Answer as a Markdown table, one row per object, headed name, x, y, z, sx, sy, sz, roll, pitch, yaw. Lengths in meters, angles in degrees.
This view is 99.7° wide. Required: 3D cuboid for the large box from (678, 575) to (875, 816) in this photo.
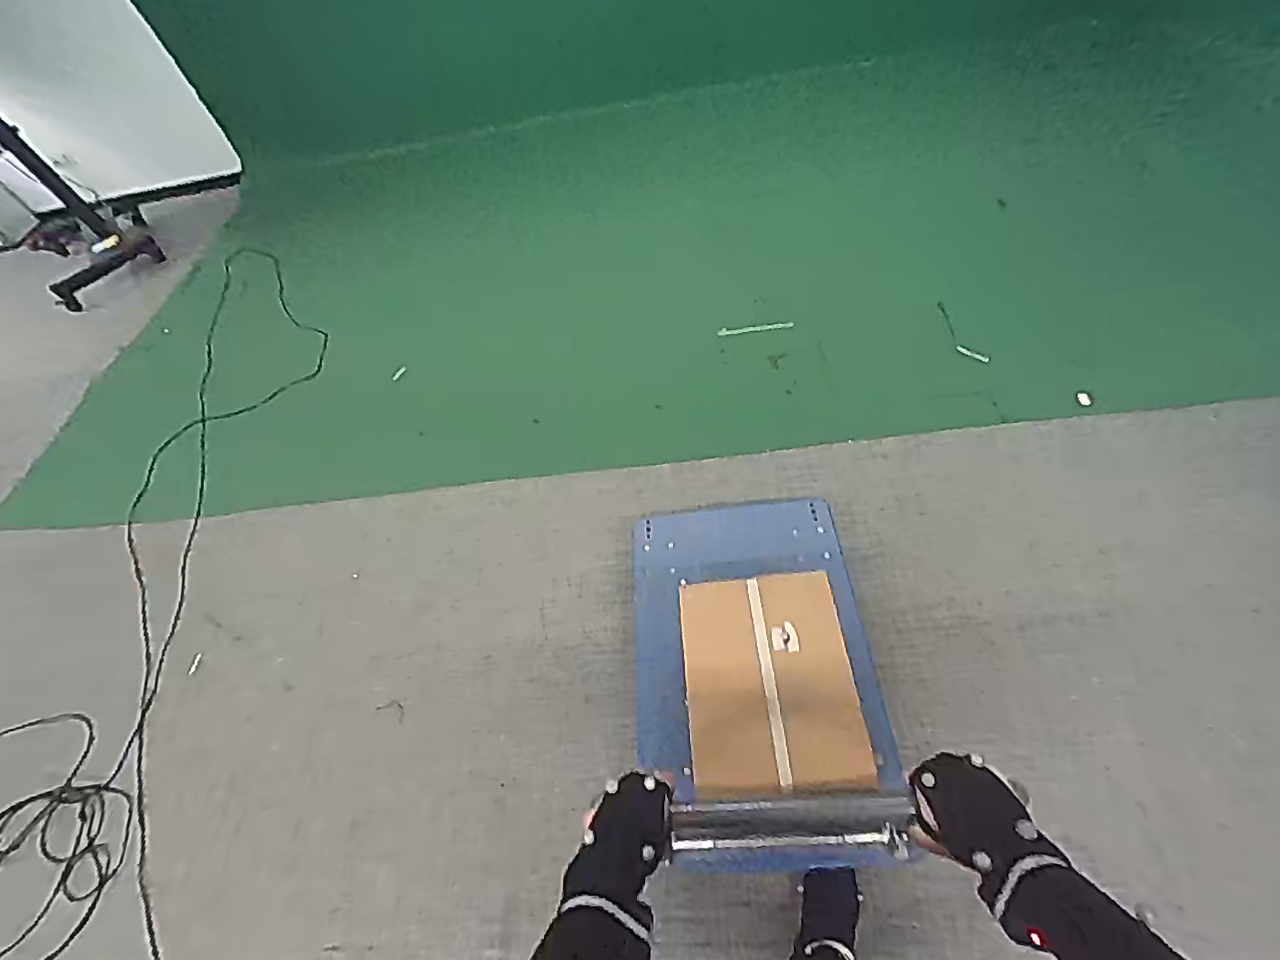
| name | x | y | z | sx | sy | sz | roll | pitch | yaw |
| --- | --- | --- | --- | --- | --- | --- | --- | --- | --- |
| large box | 0.269 | 0.469 | 1.166 | 0.320 | 0.320 | 0.408 | -7 | 53 | 7 |
